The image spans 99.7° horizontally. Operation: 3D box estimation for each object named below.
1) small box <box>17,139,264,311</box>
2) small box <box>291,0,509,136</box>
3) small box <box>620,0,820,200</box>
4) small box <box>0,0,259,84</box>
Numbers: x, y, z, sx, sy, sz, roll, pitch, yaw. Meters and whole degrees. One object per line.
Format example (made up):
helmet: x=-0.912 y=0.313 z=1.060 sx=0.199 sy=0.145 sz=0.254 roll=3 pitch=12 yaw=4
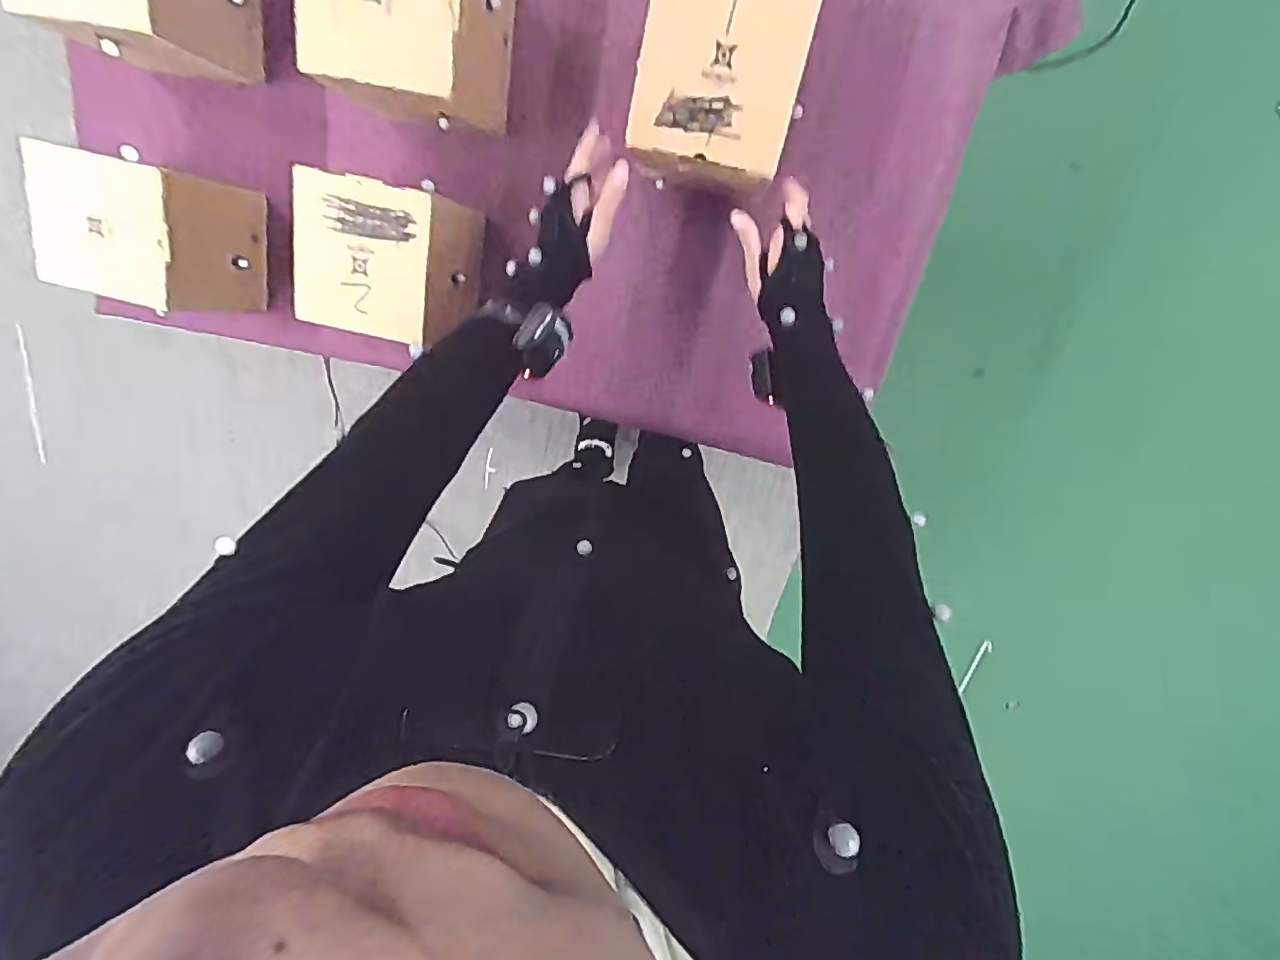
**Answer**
small box: x=-0.654 y=-0.327 z=0.729 sx=0.179 sy=0.176 sz=0.168 roll=14 pitch=108 yaw=1
small box: x=-0.264 y=-0.519 z=0.623 sx=0.179 sy=0.176 sz=0.168 roll=12 pitch=109 yaw=3
small box: x=0.085 y=-0.435 z=0.610 sx=0.168 sy=0.176 sz=0.179 roll=14 pitch=109 yaw=2
small box: x=-0.593 y=-0.594 z=0.631 sx=0.179 sy=0.176 sz=0.168 roll=10 pitch=110 yaw=2
